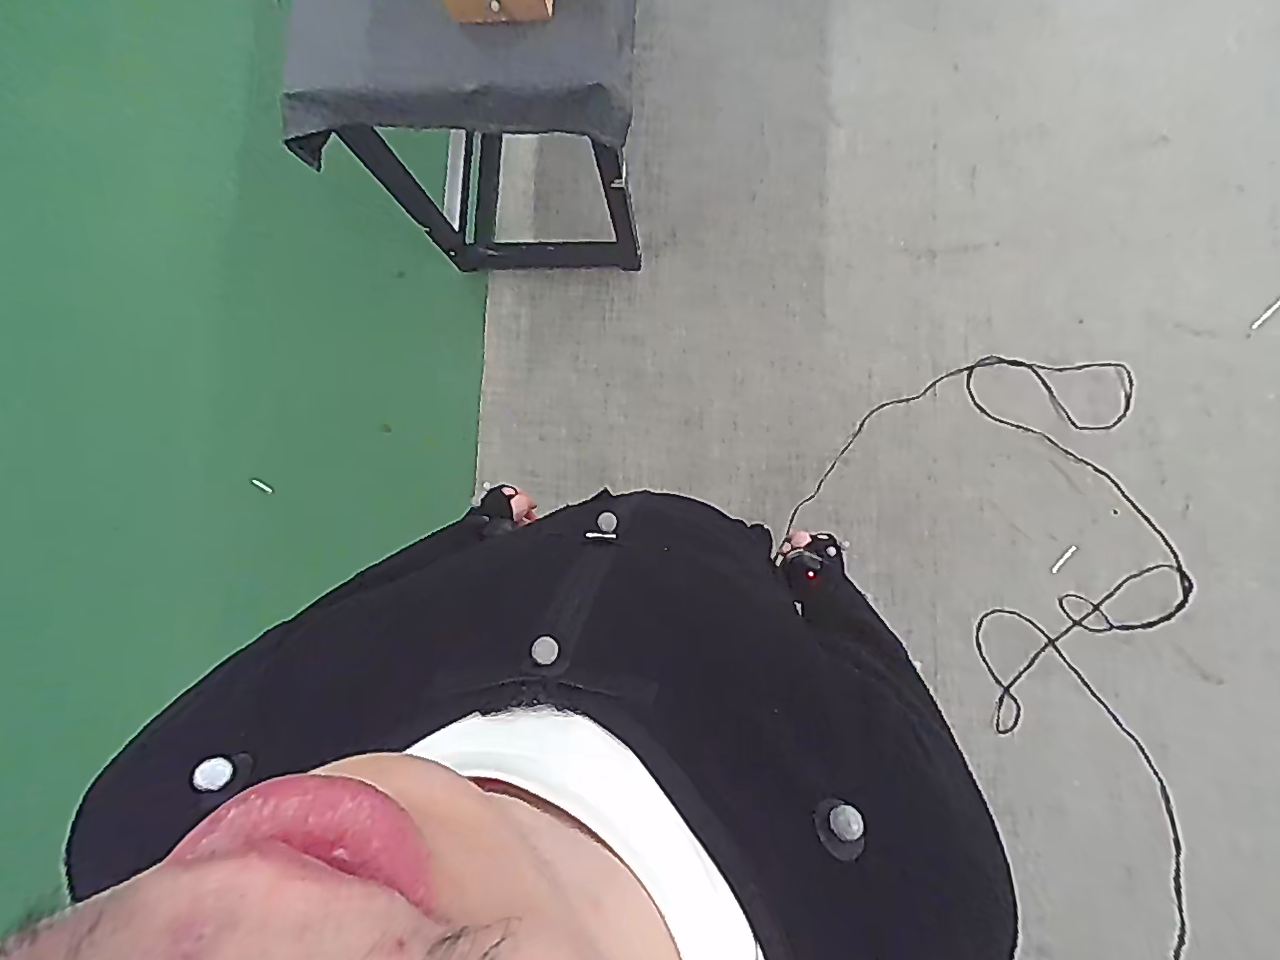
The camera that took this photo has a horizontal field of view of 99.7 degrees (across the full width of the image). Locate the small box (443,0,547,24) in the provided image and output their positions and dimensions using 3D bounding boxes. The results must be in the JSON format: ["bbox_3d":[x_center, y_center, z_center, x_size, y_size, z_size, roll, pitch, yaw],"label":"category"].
[{"bbox_3d":[-0.247,-0.887,0.875,0.179,0.176,0.168,3,85,6],"label":"small box"}]
